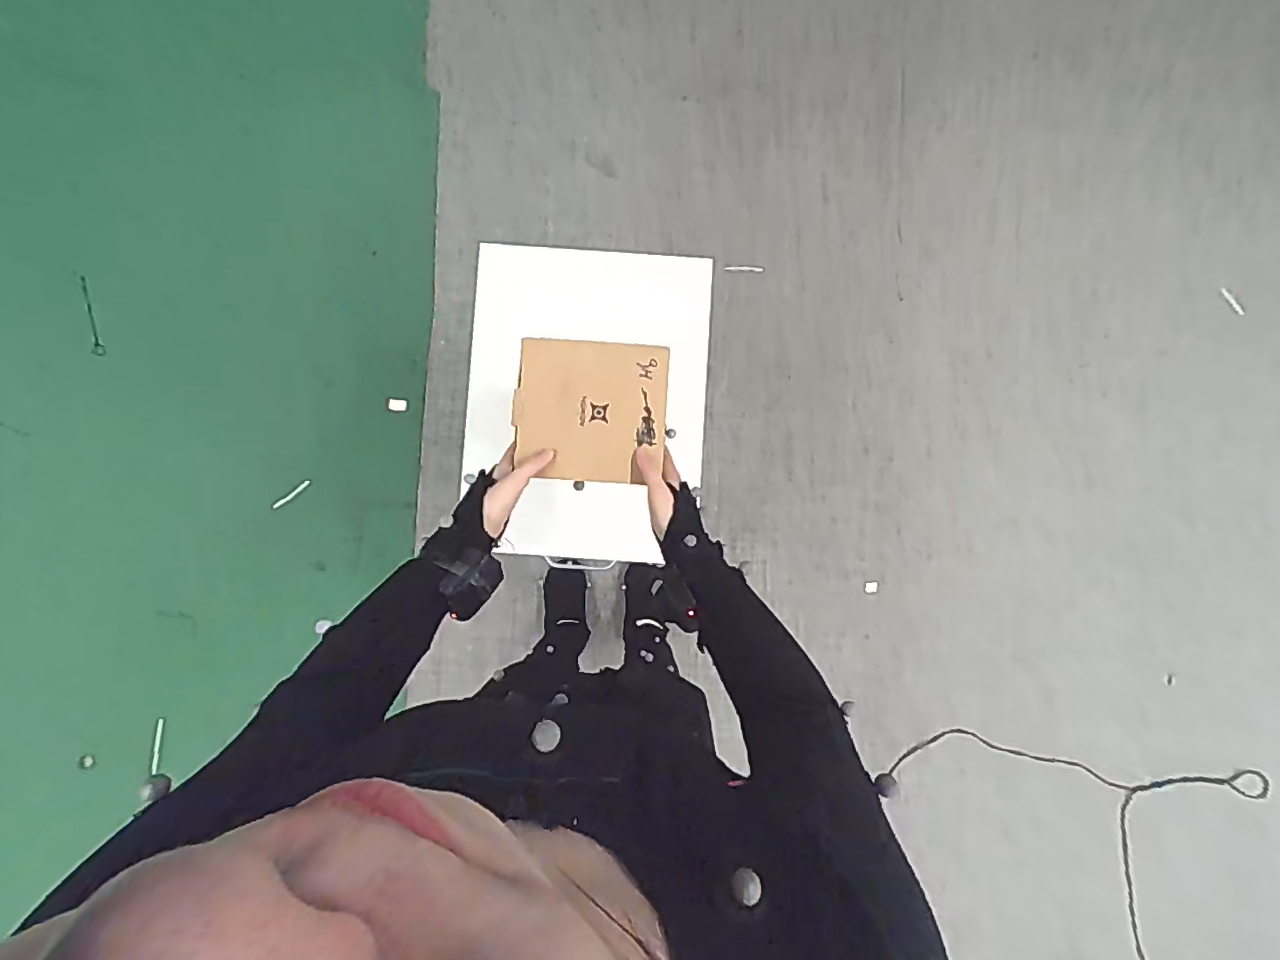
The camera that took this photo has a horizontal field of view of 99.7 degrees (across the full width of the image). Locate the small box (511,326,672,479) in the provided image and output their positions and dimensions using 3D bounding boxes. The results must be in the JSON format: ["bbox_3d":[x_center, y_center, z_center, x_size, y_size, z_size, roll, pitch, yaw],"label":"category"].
[{"bbox_3d":[-0.056,-0.090,0.700,0.179,0.176,0.168,4,91,-1],"label":"small box"}]
